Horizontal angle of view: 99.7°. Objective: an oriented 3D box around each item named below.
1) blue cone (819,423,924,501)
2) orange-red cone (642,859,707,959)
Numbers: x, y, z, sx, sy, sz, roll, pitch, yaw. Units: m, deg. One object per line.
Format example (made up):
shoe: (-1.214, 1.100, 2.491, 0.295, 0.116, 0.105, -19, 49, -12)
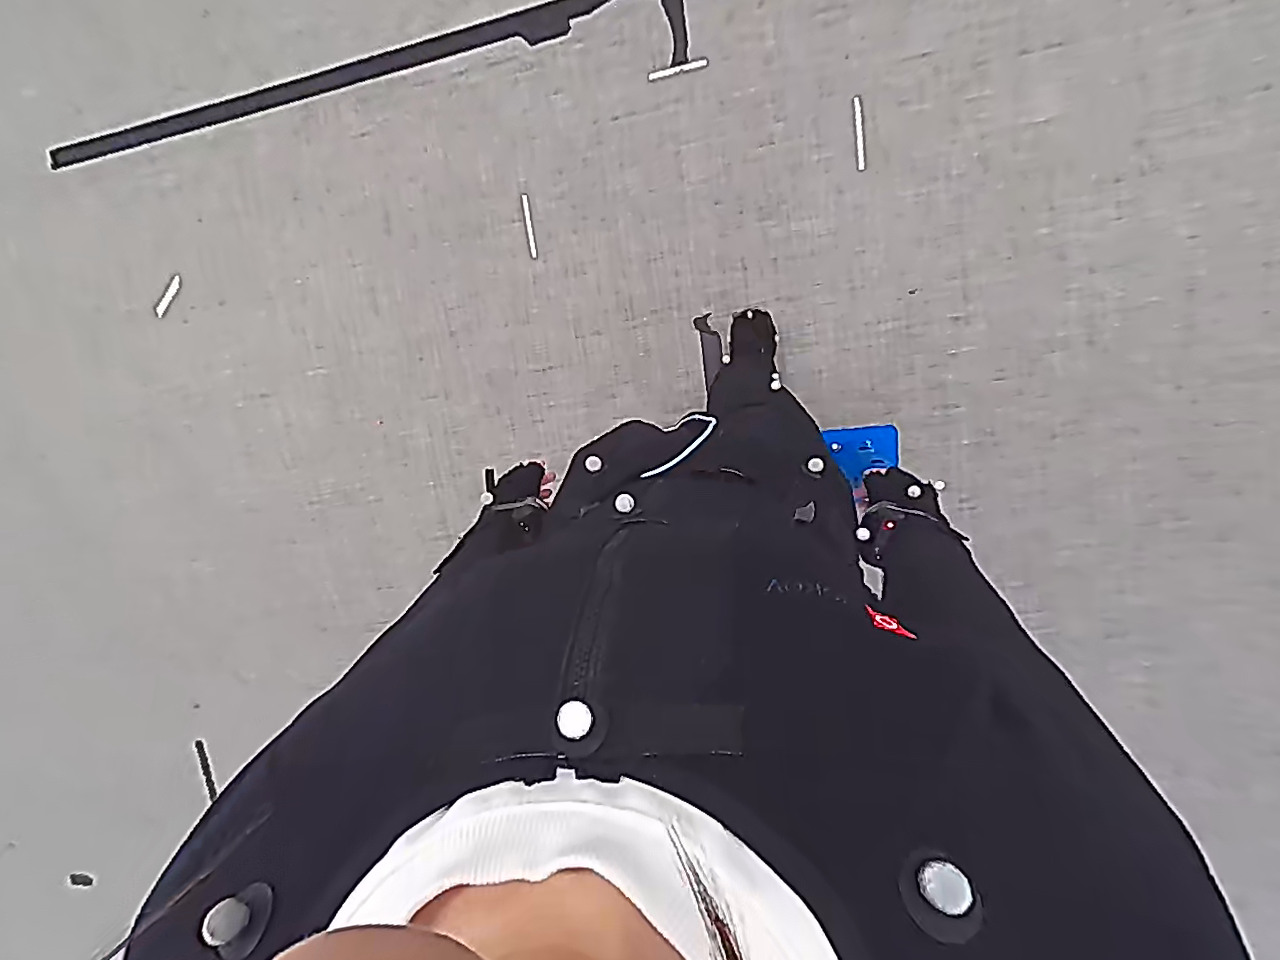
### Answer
blue cone: (0.525, -0.013, 1.190, 0.192, 0.380, 0.193, -3, 101, 8)
orange-red cone: (0.078, 1.280, 1.487, 0.199, 0.360, 0.198, -2, 99, 10)
